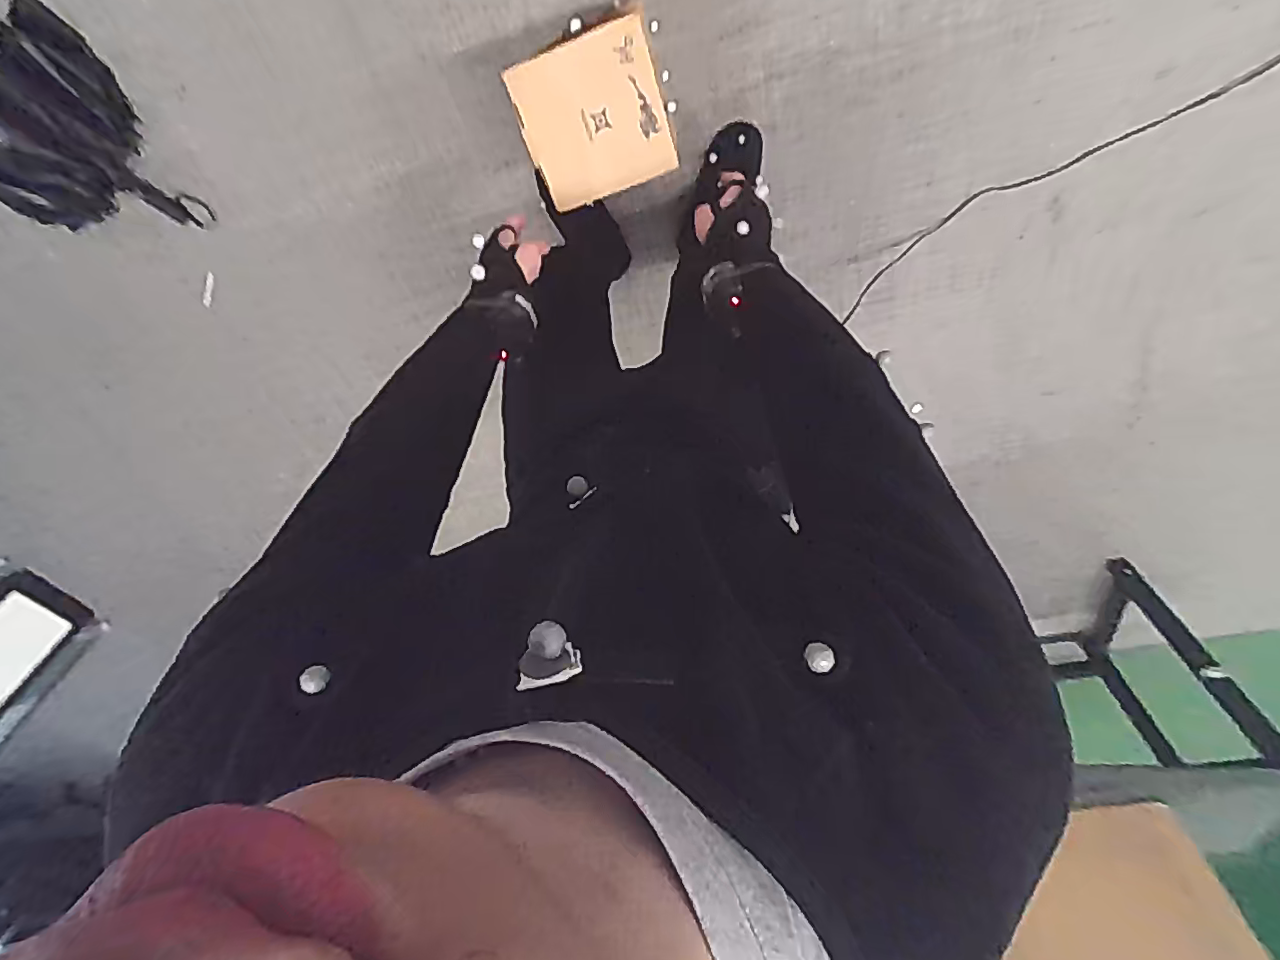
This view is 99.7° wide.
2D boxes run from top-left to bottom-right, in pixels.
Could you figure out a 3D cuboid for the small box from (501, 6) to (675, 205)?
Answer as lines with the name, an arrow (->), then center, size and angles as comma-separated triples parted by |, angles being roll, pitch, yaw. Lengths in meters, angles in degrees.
small box -> -0.056, -0.505, 0.733 | 0.179, 0.176, 0.168 | -12, 130, 15
